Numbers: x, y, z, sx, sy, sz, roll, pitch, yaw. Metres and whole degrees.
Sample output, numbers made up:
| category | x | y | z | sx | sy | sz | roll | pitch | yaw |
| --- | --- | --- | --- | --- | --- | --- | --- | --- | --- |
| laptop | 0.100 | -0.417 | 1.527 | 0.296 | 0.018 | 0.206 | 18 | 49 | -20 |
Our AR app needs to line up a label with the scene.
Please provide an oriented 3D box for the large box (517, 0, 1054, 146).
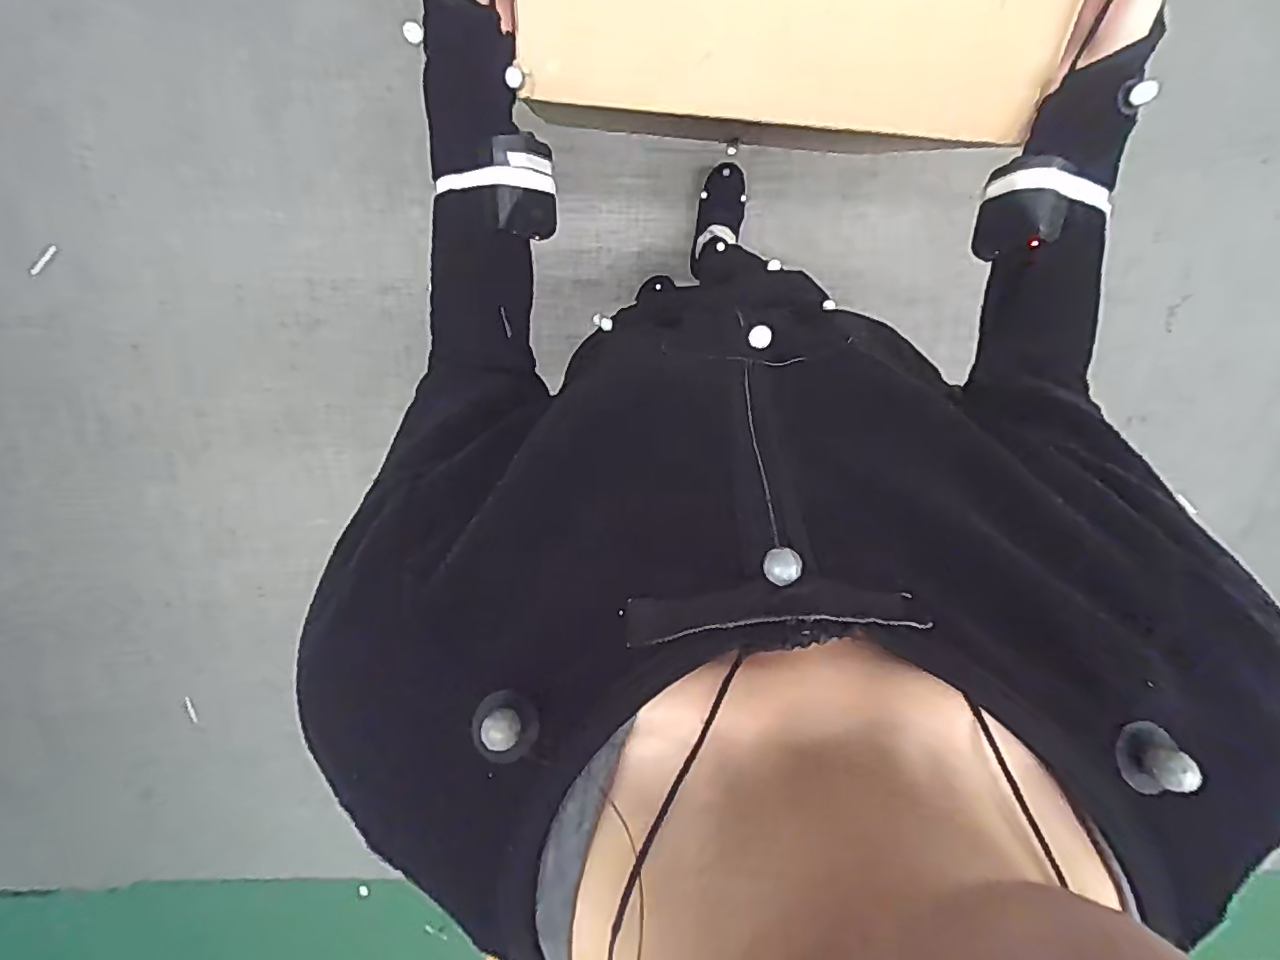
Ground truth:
| category | x | y | z | sx | sy | sz | roll | pitch | yaw |
| --- | --- | --- | --- | --- | --- | --- | --- | --- | --- |
| large box | 0.106 | -0.488 | 0.481 | 0.408 | 0.320 | 0.320 | 1 | 119 | -6 |
